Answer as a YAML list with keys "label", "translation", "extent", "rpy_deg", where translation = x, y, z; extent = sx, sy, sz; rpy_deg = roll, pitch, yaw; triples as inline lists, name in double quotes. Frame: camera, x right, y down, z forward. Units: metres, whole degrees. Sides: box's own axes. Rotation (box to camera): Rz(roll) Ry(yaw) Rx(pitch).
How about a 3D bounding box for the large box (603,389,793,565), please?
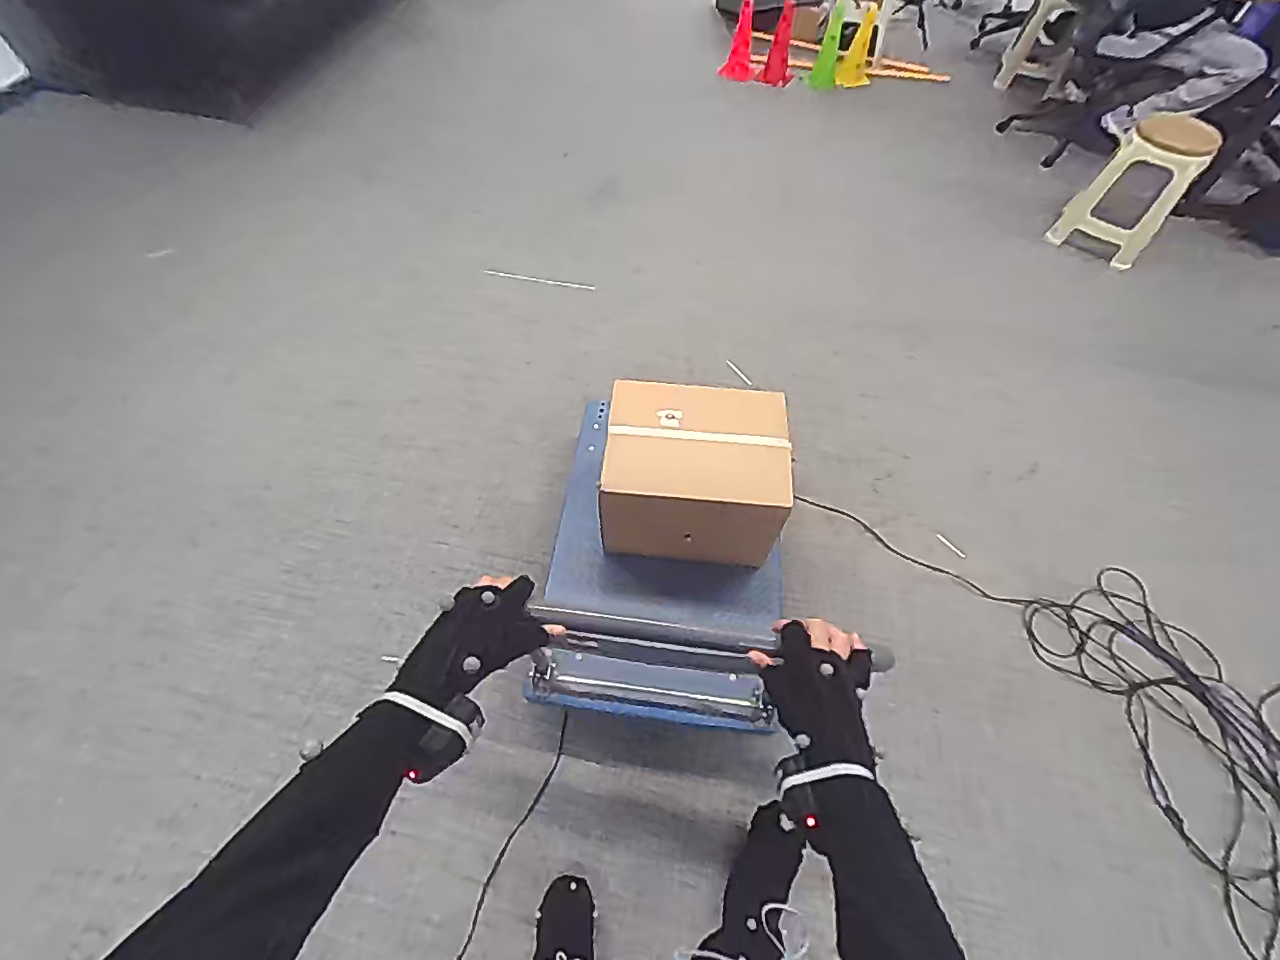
- label: "large box"
  translation: [0.129, 0.001, 1.328]
  extent: [0.408, 0.320, 0.320]
  rpy_deg: [4, 57, 1]
